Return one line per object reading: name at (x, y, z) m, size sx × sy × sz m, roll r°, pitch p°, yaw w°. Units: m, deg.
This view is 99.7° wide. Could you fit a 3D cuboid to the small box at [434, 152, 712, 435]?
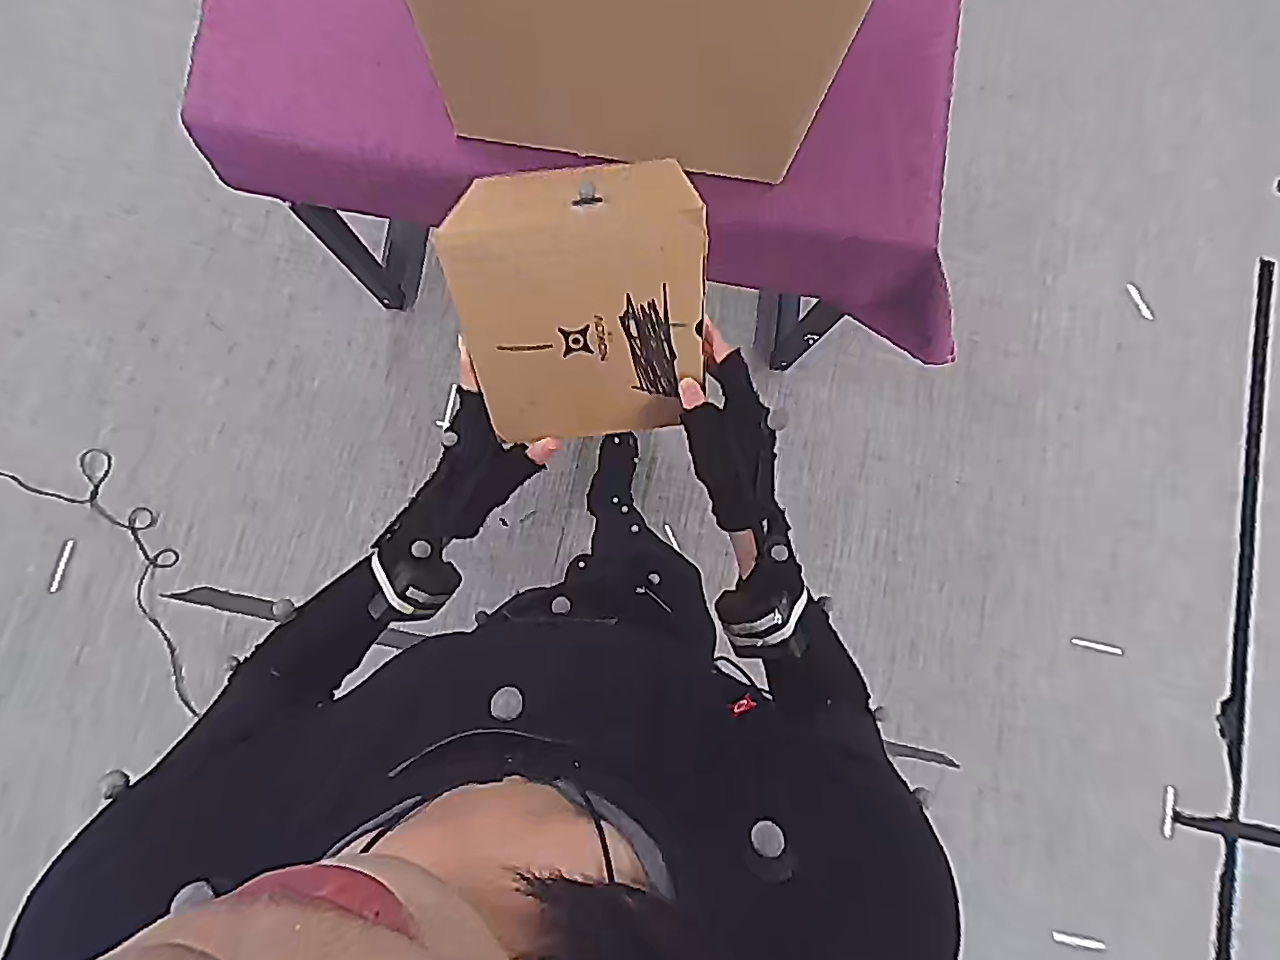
small box at (-0.043, -0.157, 0.444) m, size 0.179 × 0.168 × 0.176 m, roll -5°, pitch 39°, yaw 0°
